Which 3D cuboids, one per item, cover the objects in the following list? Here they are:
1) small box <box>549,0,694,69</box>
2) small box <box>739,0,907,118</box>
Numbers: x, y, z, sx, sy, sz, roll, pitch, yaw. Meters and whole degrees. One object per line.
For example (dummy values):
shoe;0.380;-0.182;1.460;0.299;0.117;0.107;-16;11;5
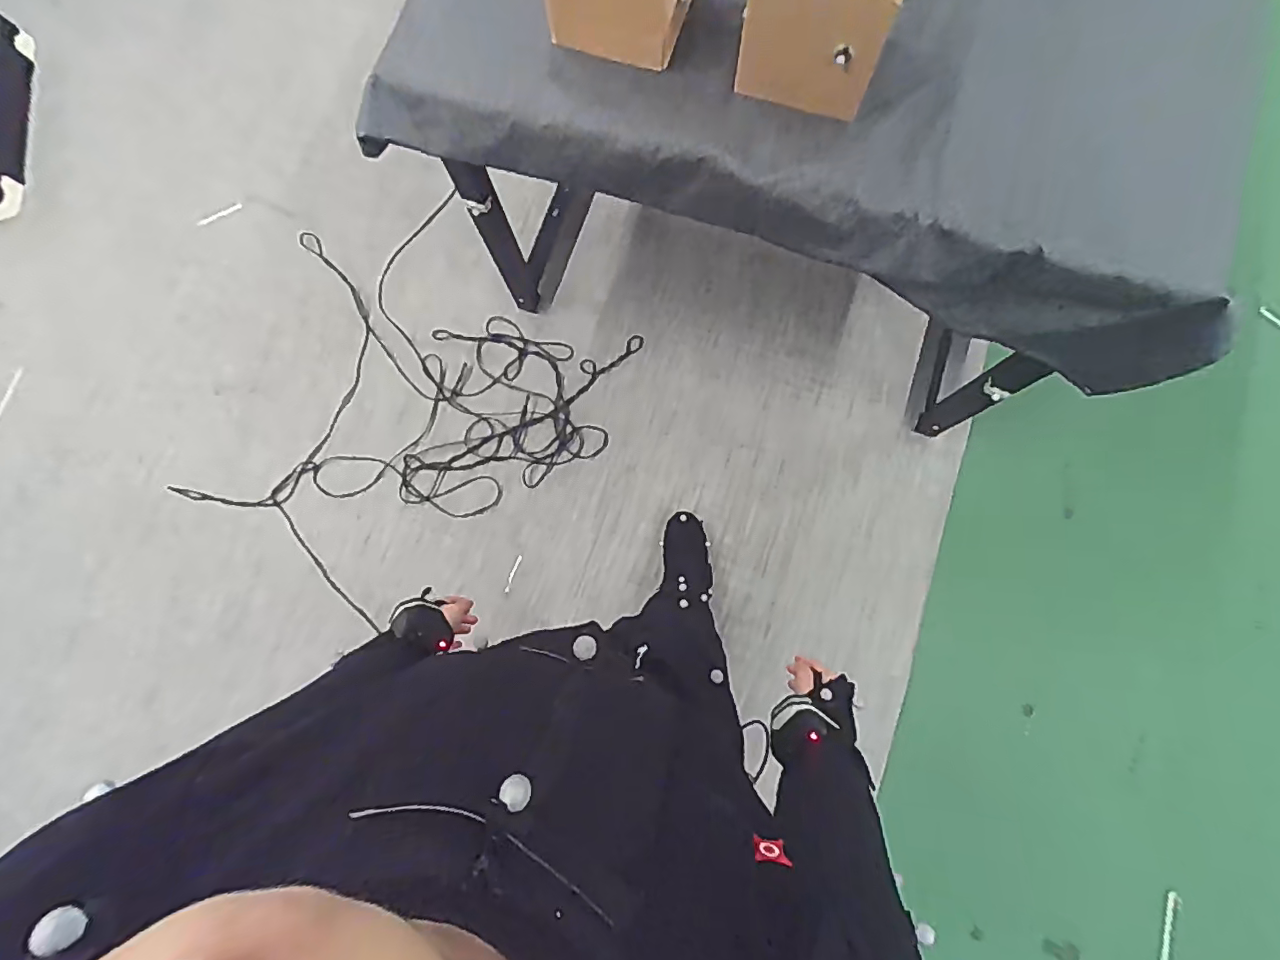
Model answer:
small box;-0.024;-0.703;0.725;0.179;0.176;0.168;17;80;5
small box;0.240;-0.611;0.697;0.179;0.176;0.168;18;79;7
